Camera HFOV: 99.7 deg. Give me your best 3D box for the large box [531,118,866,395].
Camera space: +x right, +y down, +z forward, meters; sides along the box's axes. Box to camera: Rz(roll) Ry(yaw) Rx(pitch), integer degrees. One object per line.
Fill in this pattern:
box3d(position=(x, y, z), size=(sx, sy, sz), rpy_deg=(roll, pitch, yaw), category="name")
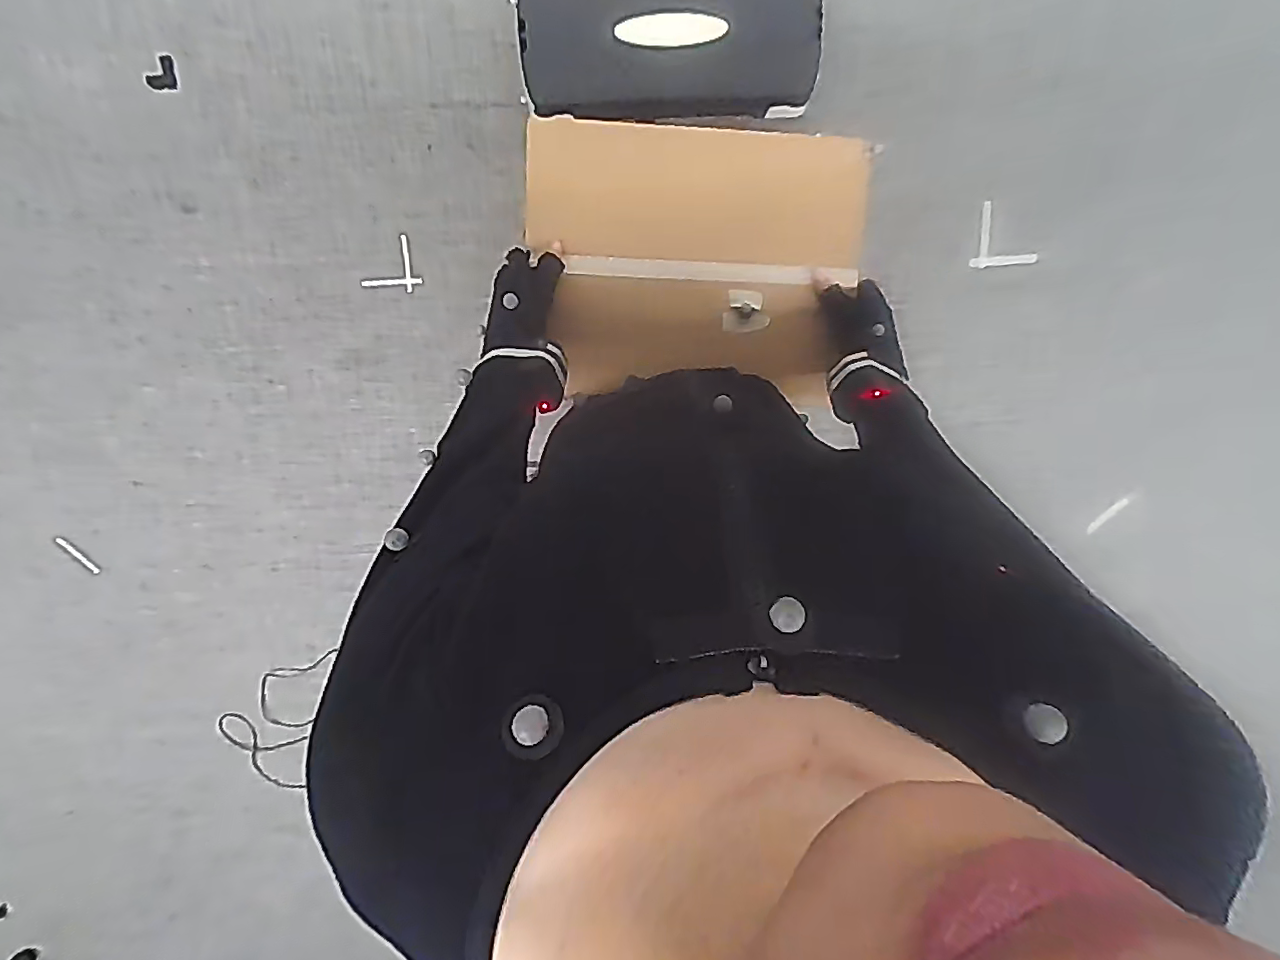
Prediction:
box3d(position=(0.061, -0.294, 0.809), size=(0.408, 0.320, 0.320), rpy_deg=(2, 102, -2), category="large box")
